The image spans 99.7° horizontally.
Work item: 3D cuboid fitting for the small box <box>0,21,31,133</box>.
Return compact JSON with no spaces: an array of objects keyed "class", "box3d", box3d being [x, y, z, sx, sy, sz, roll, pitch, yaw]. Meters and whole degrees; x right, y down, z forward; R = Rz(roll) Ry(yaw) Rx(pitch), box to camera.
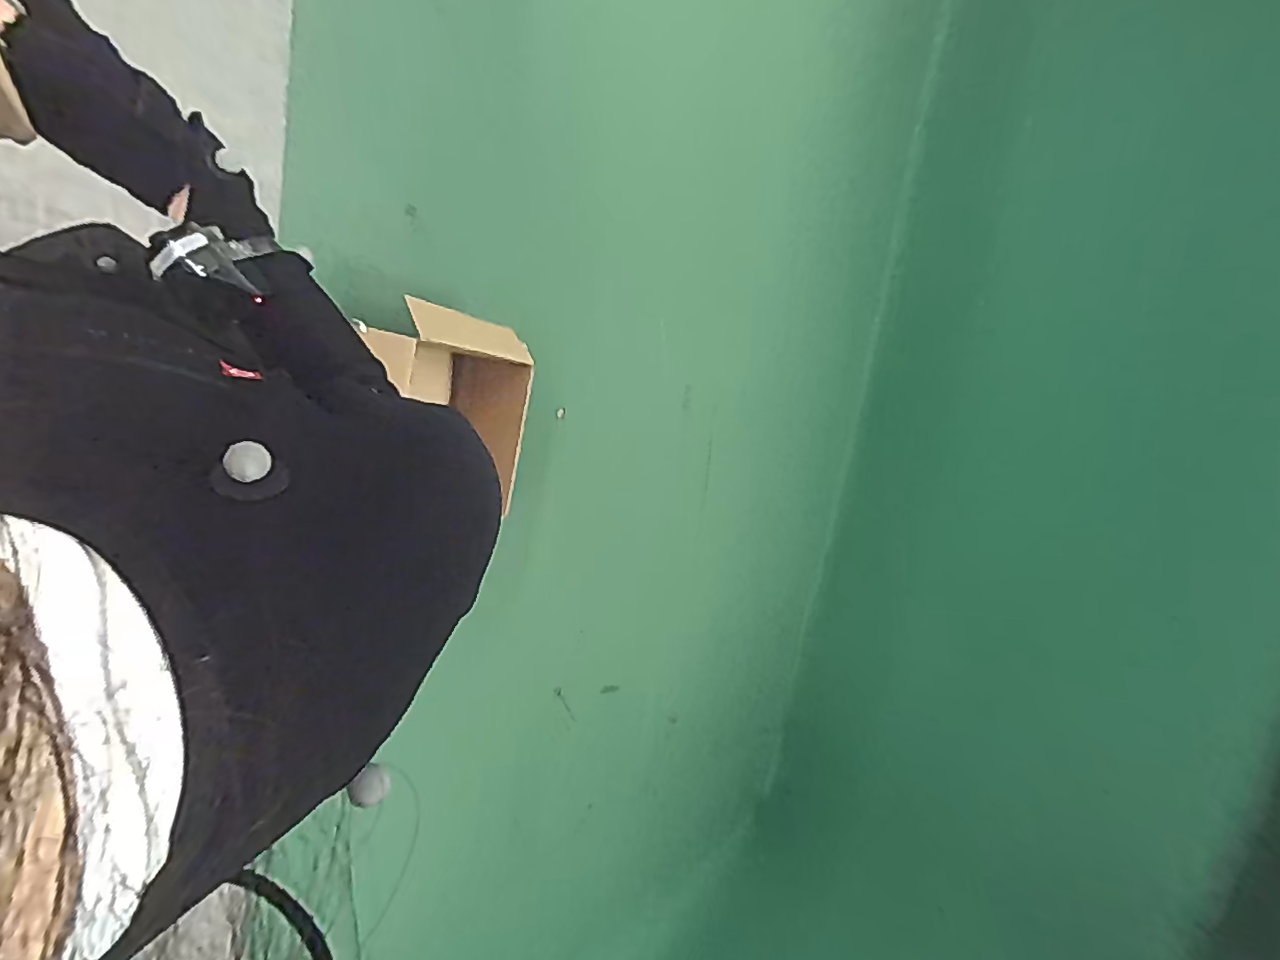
[{"class":"small box","box3d":[-0.411,-0.271,0.223,0.168,0.176,0.179,-21,111,-38]}]
